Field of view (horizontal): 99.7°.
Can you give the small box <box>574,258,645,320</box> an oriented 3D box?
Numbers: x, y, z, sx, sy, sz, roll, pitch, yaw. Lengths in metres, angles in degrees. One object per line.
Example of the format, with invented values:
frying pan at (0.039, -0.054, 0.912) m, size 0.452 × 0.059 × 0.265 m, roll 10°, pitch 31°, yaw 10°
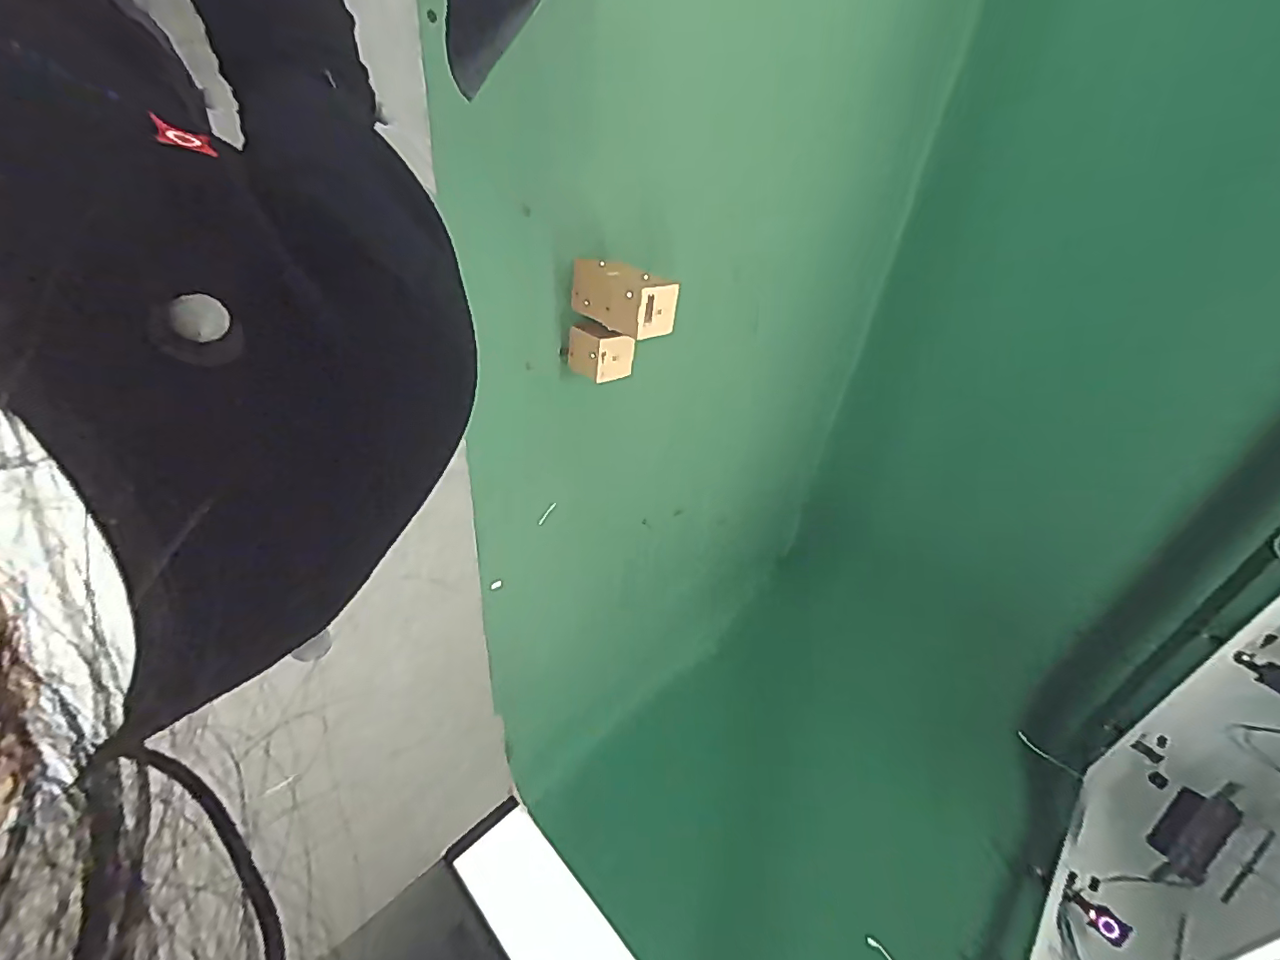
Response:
small box at (-0.110, -0.666, 1.877) m, size 0.179 × 0.176 × 0.168 m, roll -22°, pitch 133°, yaw -41°
